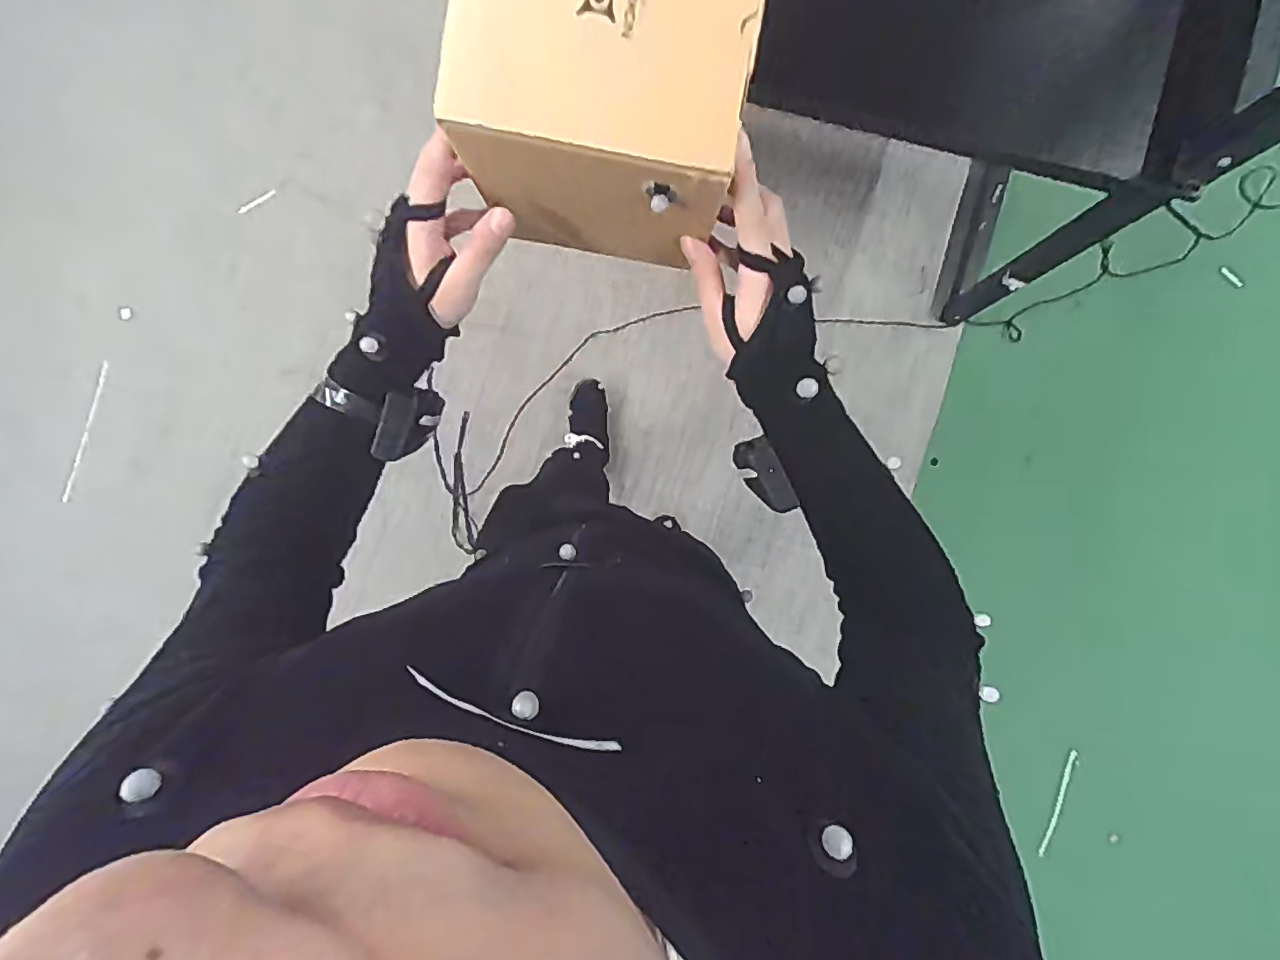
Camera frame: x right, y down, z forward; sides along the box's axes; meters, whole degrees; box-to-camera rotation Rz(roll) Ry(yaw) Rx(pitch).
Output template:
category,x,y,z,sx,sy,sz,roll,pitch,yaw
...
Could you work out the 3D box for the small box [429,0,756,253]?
category,x,y,z,sx,sy,sz,roll,pitch,yaw
small box,-0.022,-0.280,0.382,0.179,0.176,0.168,9,94,-2
